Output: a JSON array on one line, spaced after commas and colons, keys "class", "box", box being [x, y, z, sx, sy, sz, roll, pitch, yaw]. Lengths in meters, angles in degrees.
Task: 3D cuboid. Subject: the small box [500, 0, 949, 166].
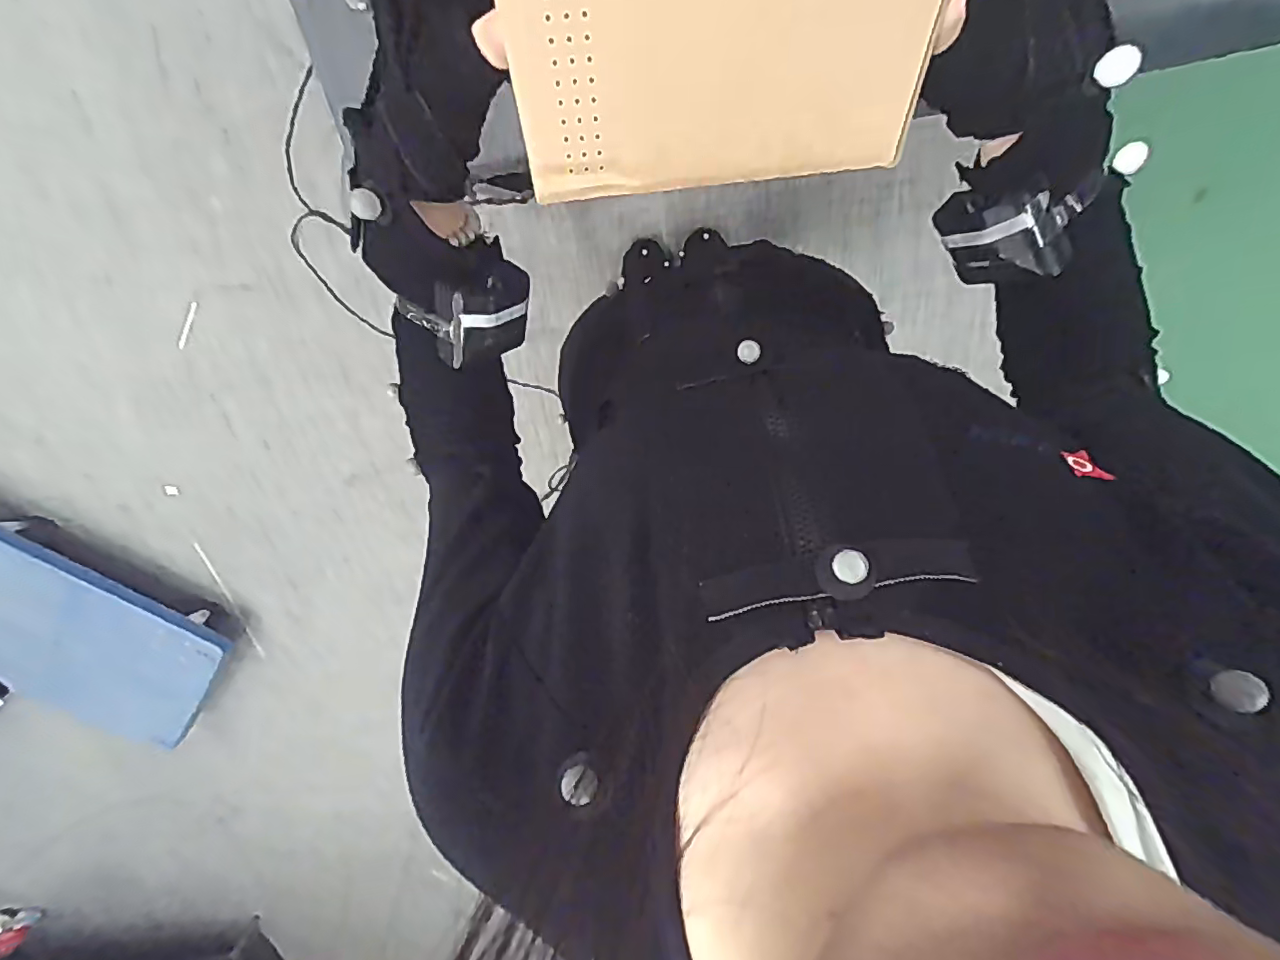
[{"class": "small box", "box": [0.021, -0.252, 0.220, 0.176, 0.168, 0.179, -8, 145, -1]}]
